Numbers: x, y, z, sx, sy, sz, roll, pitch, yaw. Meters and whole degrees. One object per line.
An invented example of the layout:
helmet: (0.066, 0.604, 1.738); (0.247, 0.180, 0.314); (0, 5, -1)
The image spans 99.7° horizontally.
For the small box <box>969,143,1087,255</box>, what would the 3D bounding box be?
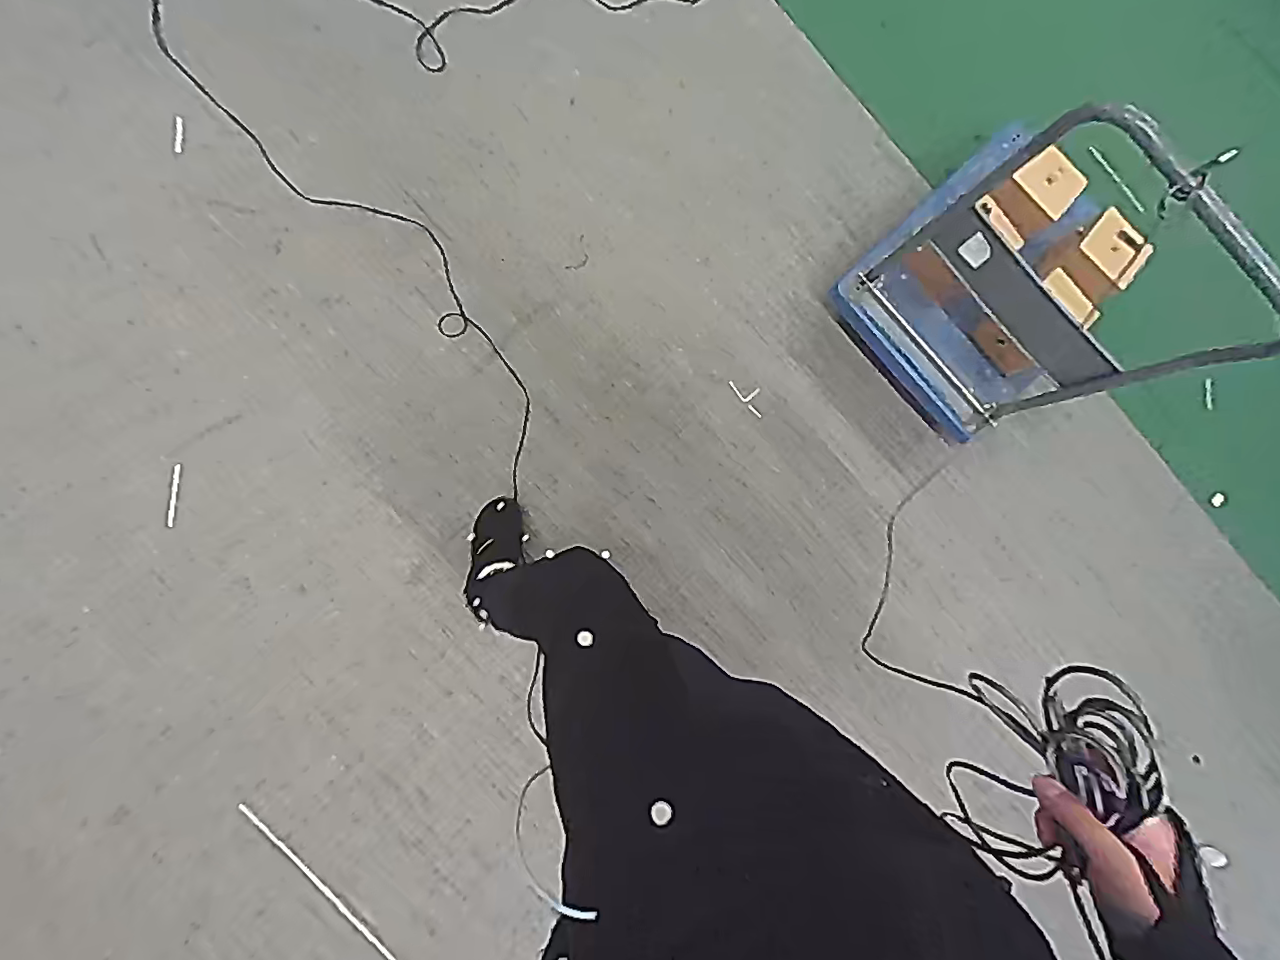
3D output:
small box: (1.045, -0.757, 1.475); (0.168, 0.176, 0.179); (44, 77, -3)

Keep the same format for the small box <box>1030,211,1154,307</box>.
small box: (1.229, -0.584, 1.483); (0.168, 0.176, 0.179); (44, 78, -1)

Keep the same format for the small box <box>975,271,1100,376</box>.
small box: (1.036, -0.405, 1.423); (0.179, 0.176, 0.168); (-42, 91, -12)
